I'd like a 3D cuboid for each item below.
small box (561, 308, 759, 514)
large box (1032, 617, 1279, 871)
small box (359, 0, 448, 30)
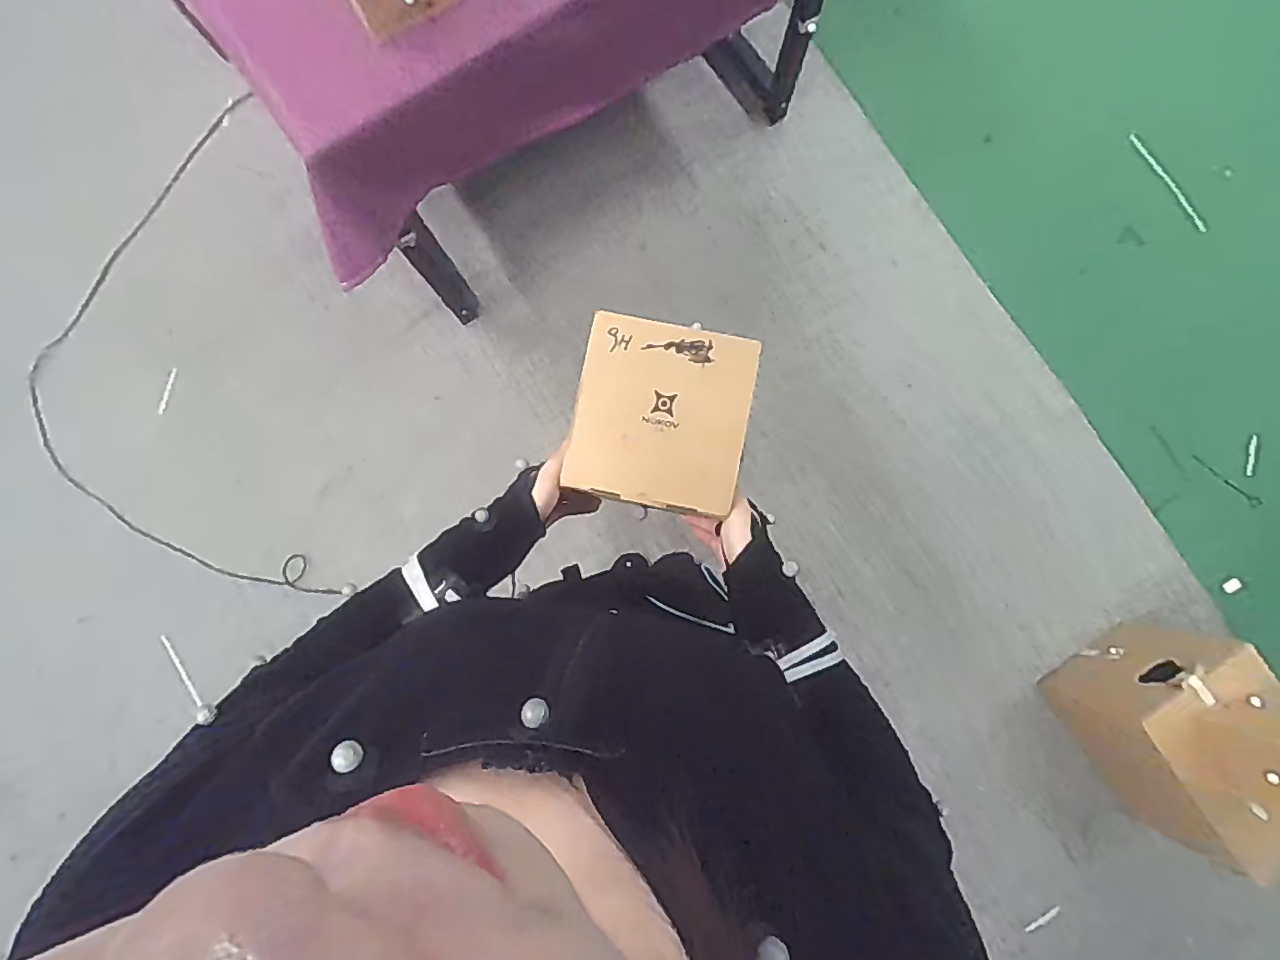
[{"bbox_3d":[0.022,-0.064,0.598,0.168,0.176,0.179,11,88,1],"label":"small box"},{"bbox_3d":[1.300,0.607,1.327,0.320,0.320,0.408,-32,87,-3],"label":"large box"},{"bbox_3d":[-0.394,-0.838,0.801,0.168,0.176,0.179,-31,86,-3],"label":"small box"}]
